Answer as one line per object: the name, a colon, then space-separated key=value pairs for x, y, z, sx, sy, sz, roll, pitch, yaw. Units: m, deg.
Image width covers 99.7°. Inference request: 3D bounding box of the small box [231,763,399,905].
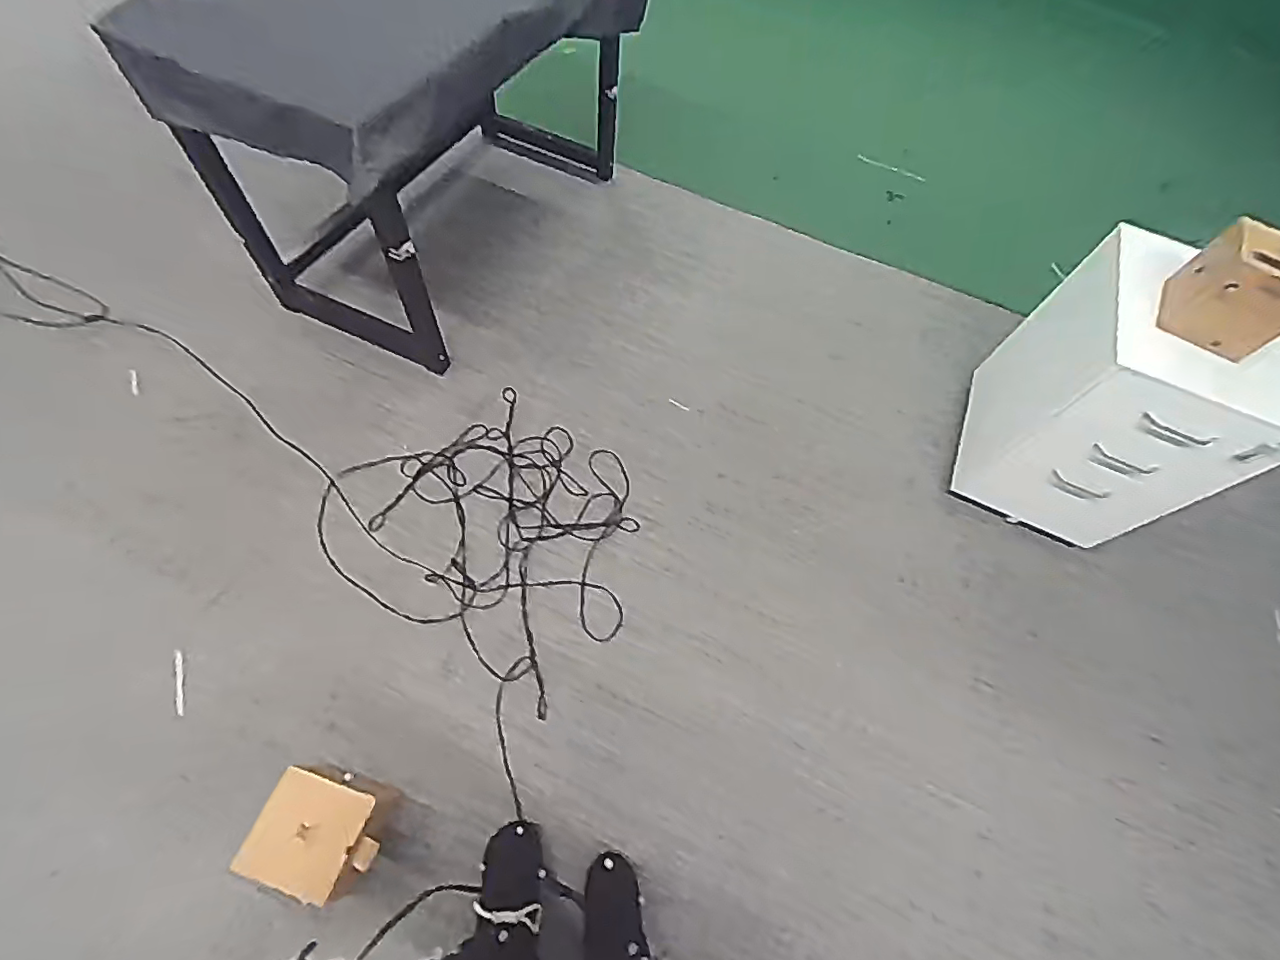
small box: x=-0.584 y=0.644 z=0.999 sx=0.179 sy=0.176 sz=0.168 roll=20 pitch=60 yaw=3
